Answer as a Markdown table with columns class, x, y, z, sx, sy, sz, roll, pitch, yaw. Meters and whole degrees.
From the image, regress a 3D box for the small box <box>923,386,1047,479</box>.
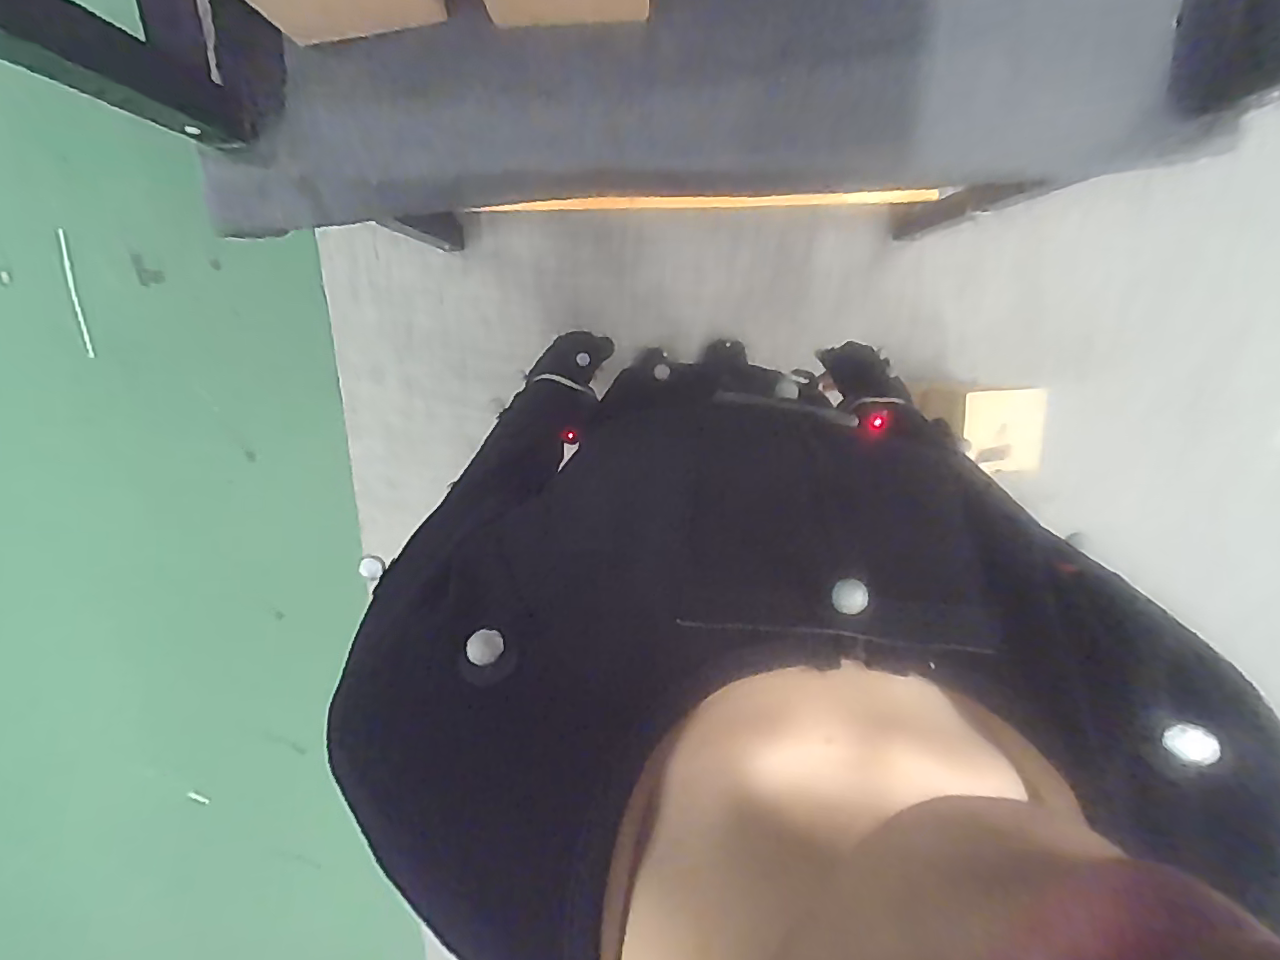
| class | x | y | z | sx | sy | sz | roll | pitch | yaw |
| --- | --- | --- | --- | --- | --- | --- | --- | --- | --- |
| small box | 0.747 | -0.109 | 1.193 | 0.168 | 0.176 | 0.179 | -3 | 103 | 2 |
